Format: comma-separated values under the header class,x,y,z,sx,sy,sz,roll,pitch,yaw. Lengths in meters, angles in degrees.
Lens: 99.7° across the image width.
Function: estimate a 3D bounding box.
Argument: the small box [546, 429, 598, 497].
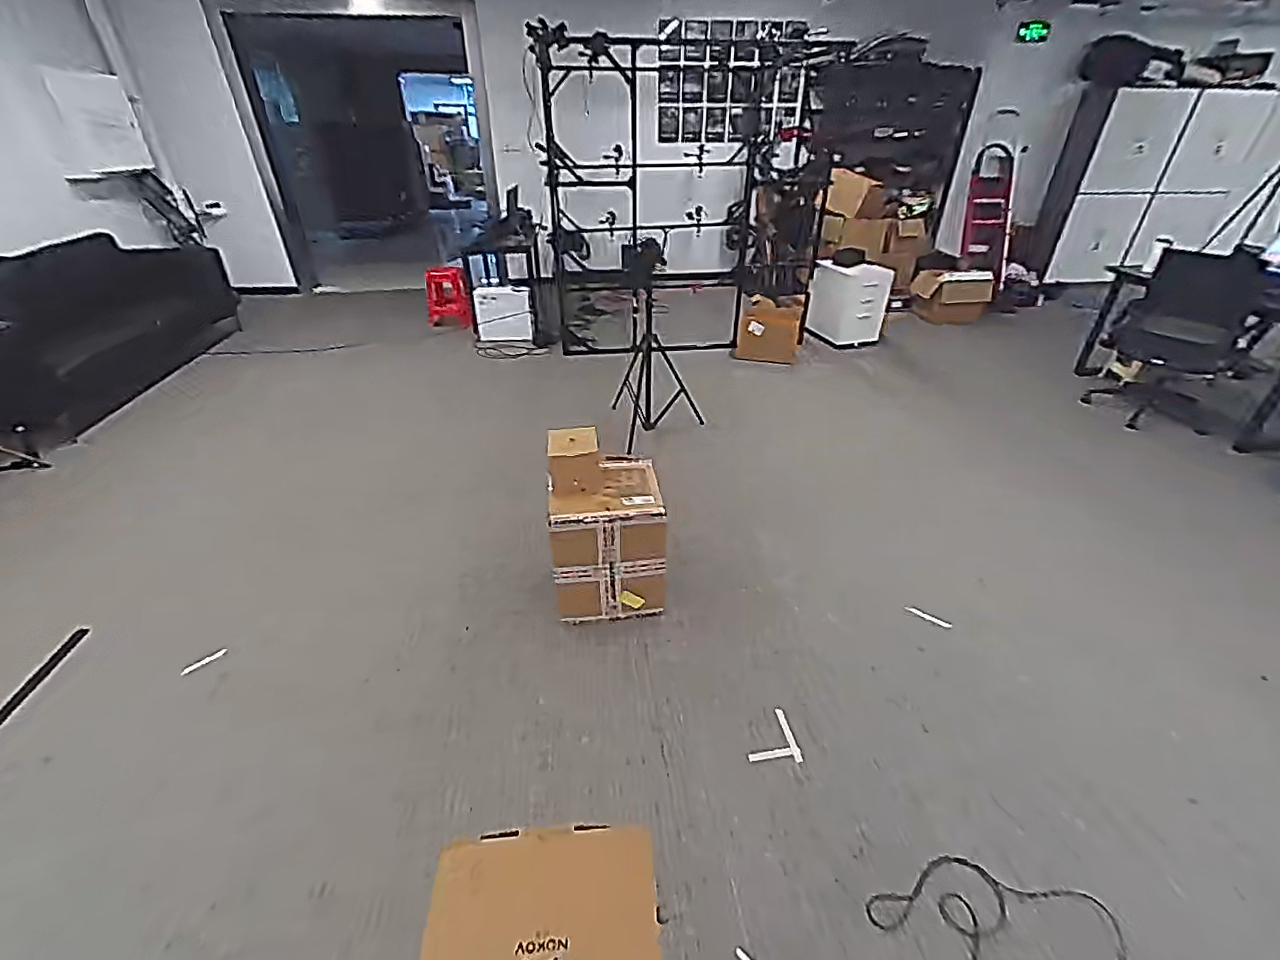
class,x,y,z,sx,sy,sz,roll,pitch,yaw
small box,-0.236,-0.059,1.892,0.168,0.176,0.179,-5,36,-5
